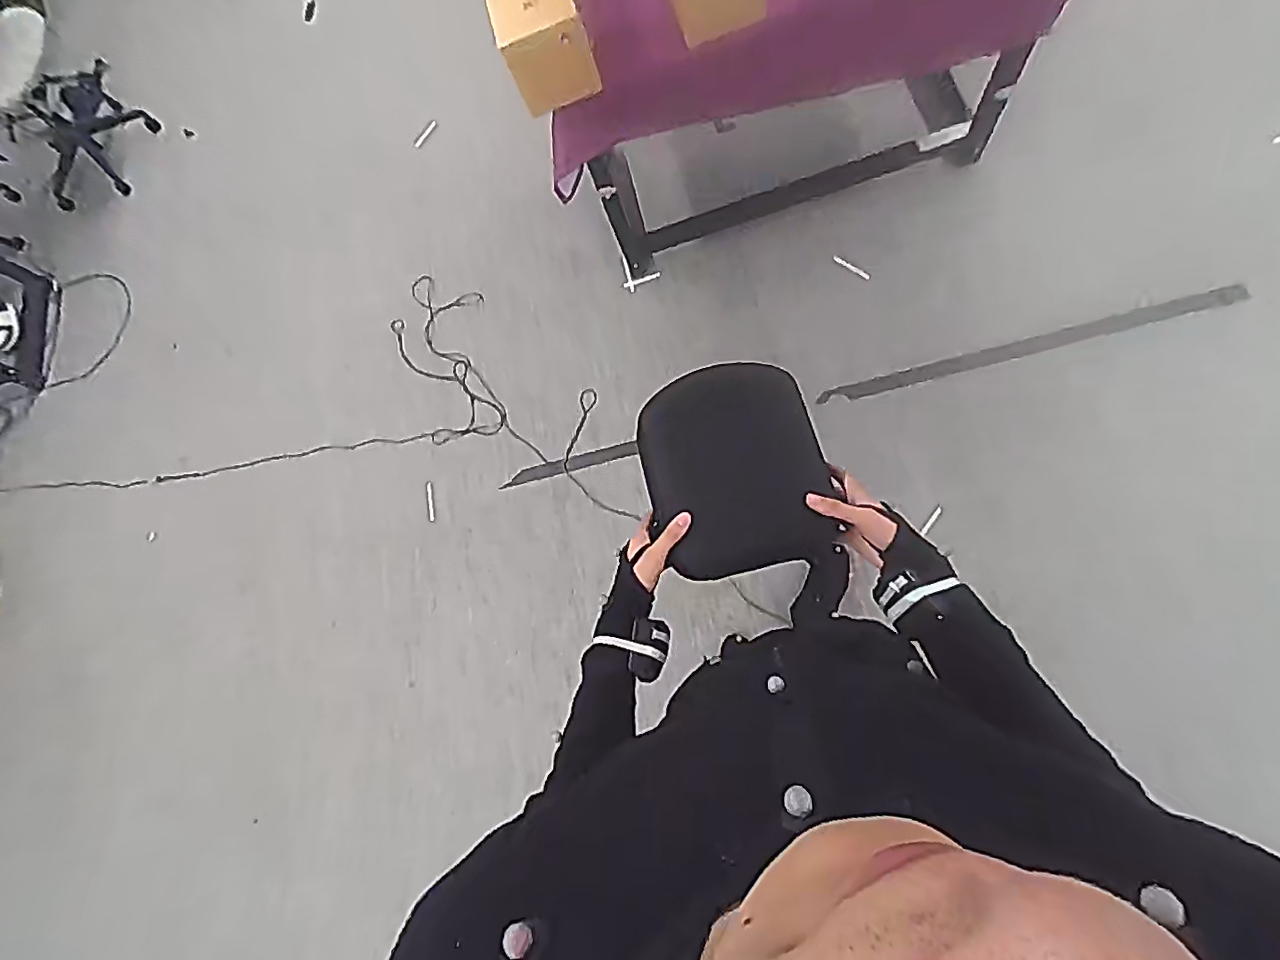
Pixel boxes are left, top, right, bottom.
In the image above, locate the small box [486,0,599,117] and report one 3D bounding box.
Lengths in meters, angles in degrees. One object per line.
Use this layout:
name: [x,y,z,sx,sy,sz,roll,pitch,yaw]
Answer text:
small box: [-0.206,-0.939,1.174,0.179,0.176,0.168,-17,74,8]
